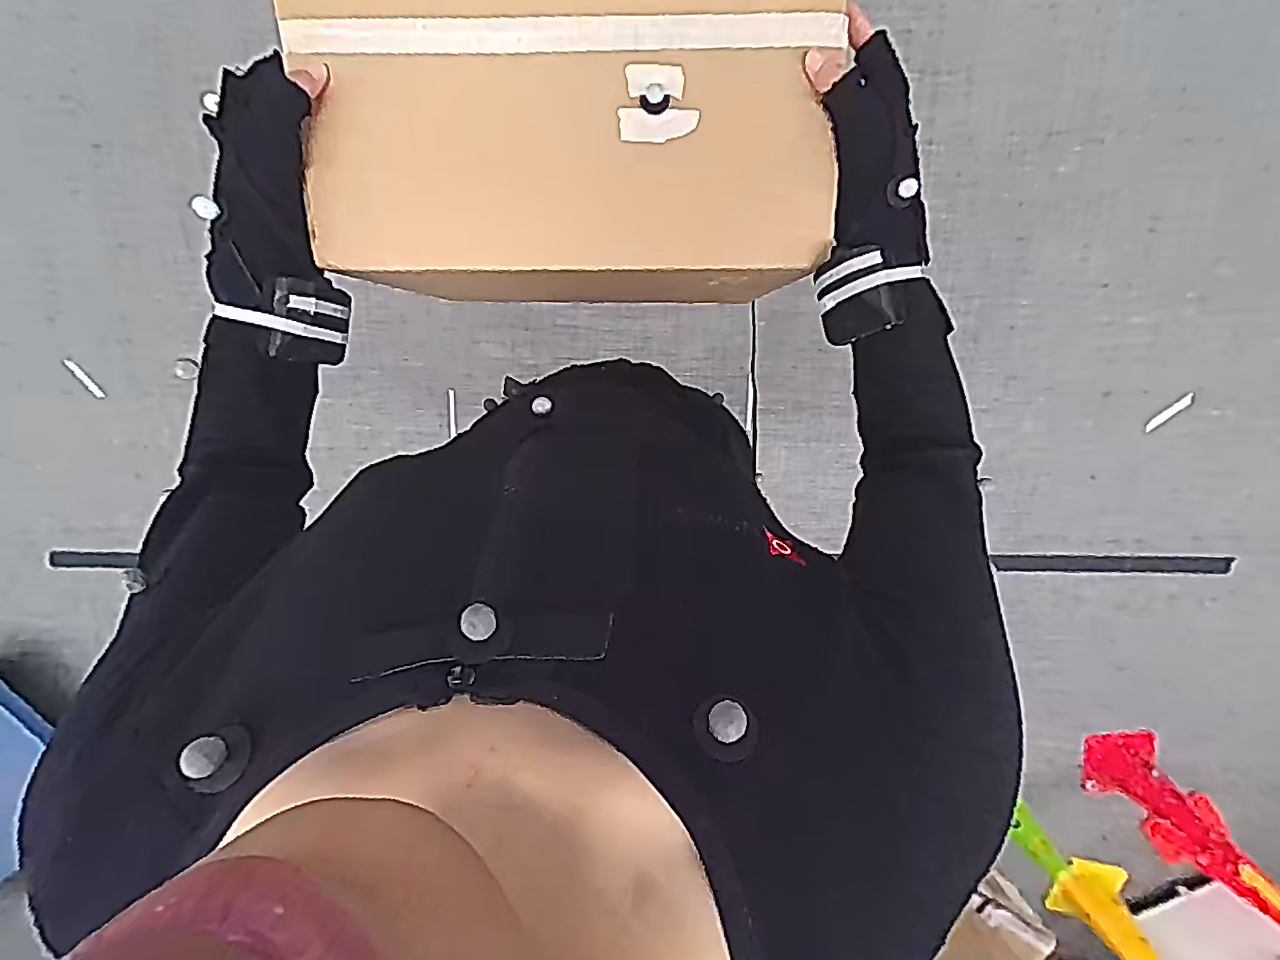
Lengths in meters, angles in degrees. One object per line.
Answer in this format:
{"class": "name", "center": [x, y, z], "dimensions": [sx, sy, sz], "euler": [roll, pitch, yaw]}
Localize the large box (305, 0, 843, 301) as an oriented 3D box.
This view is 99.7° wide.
{"class": "large box", "center": [-0.050, -0.362, 0.547], "dimensions": [0.408, 0.320, 0.320], "euler": [0, 104, 0]}
